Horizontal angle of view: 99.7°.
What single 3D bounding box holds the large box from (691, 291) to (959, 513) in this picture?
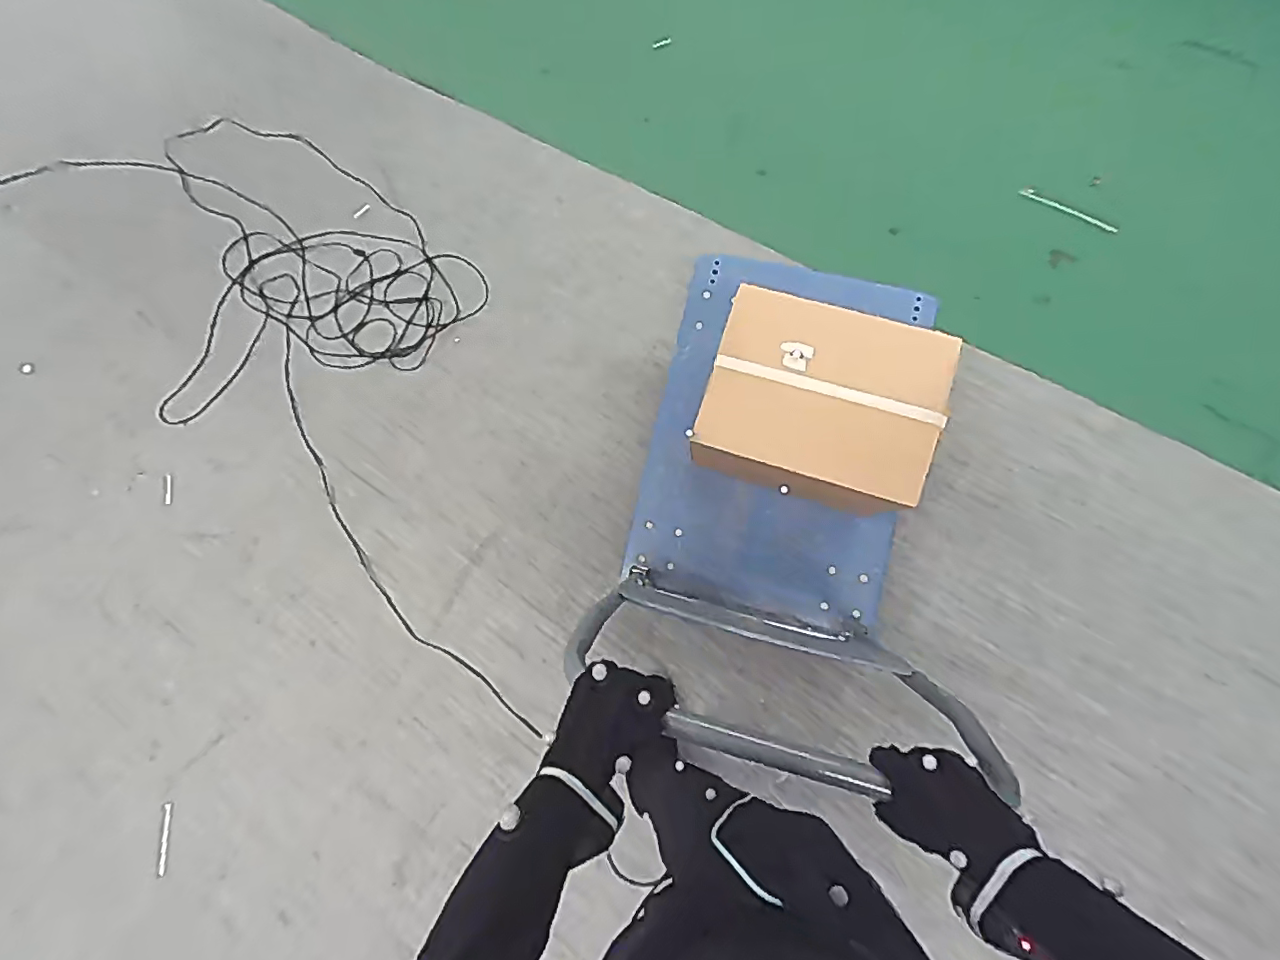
[{"bbox_3d":[0.346,-0.135,1.106,0.408,0.320,0.320,18,86,9],"label":"large box"}]
